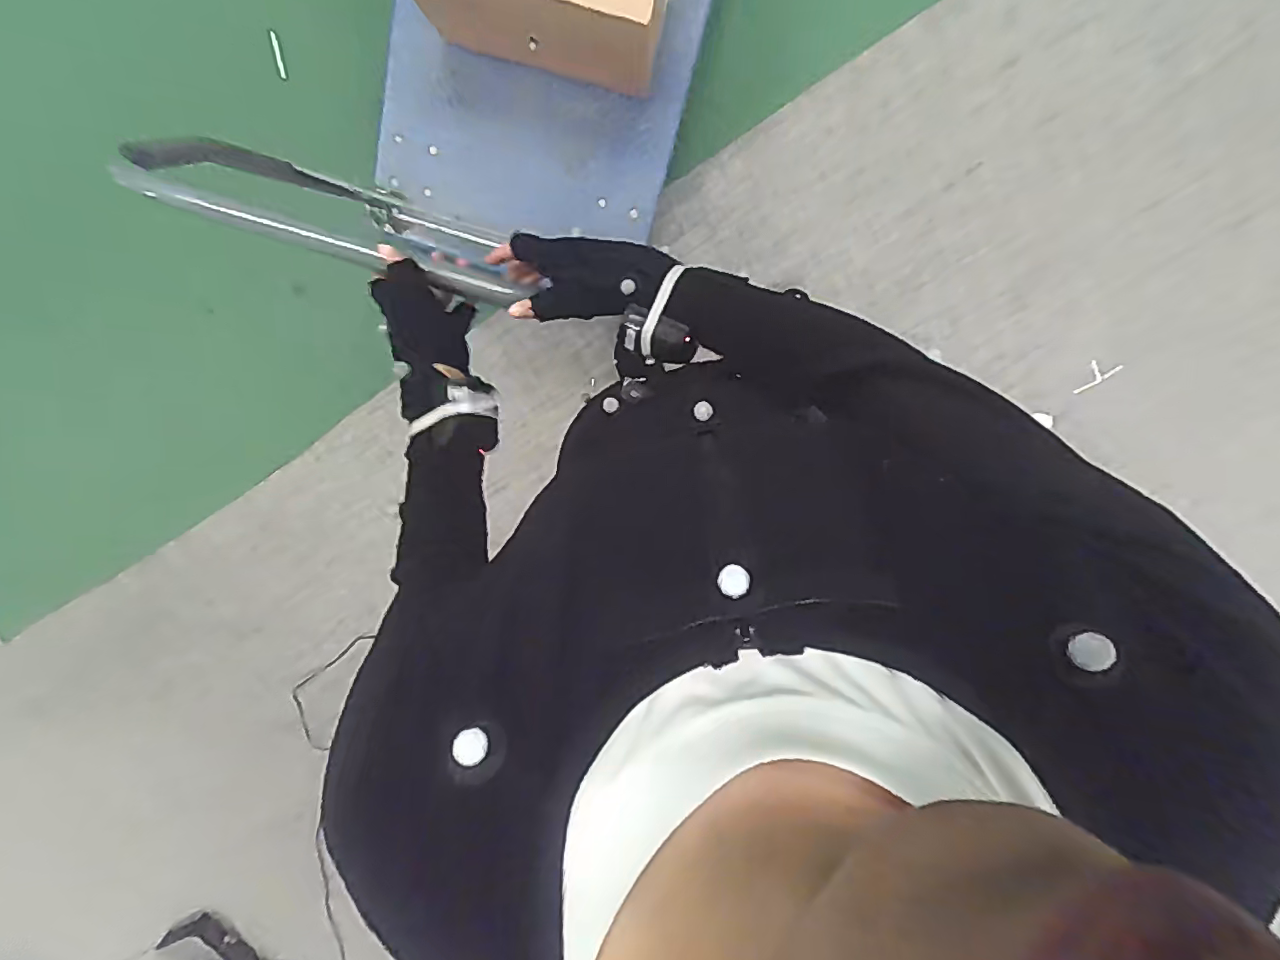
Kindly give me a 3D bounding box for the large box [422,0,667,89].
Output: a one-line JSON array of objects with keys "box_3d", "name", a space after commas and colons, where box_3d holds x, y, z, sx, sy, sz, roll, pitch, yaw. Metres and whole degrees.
[{"box_3d": [-0.144, -0.898, 0.864, 0.408, 0.320, 0.320, 14, 107, -4], "name": "large box"}]
